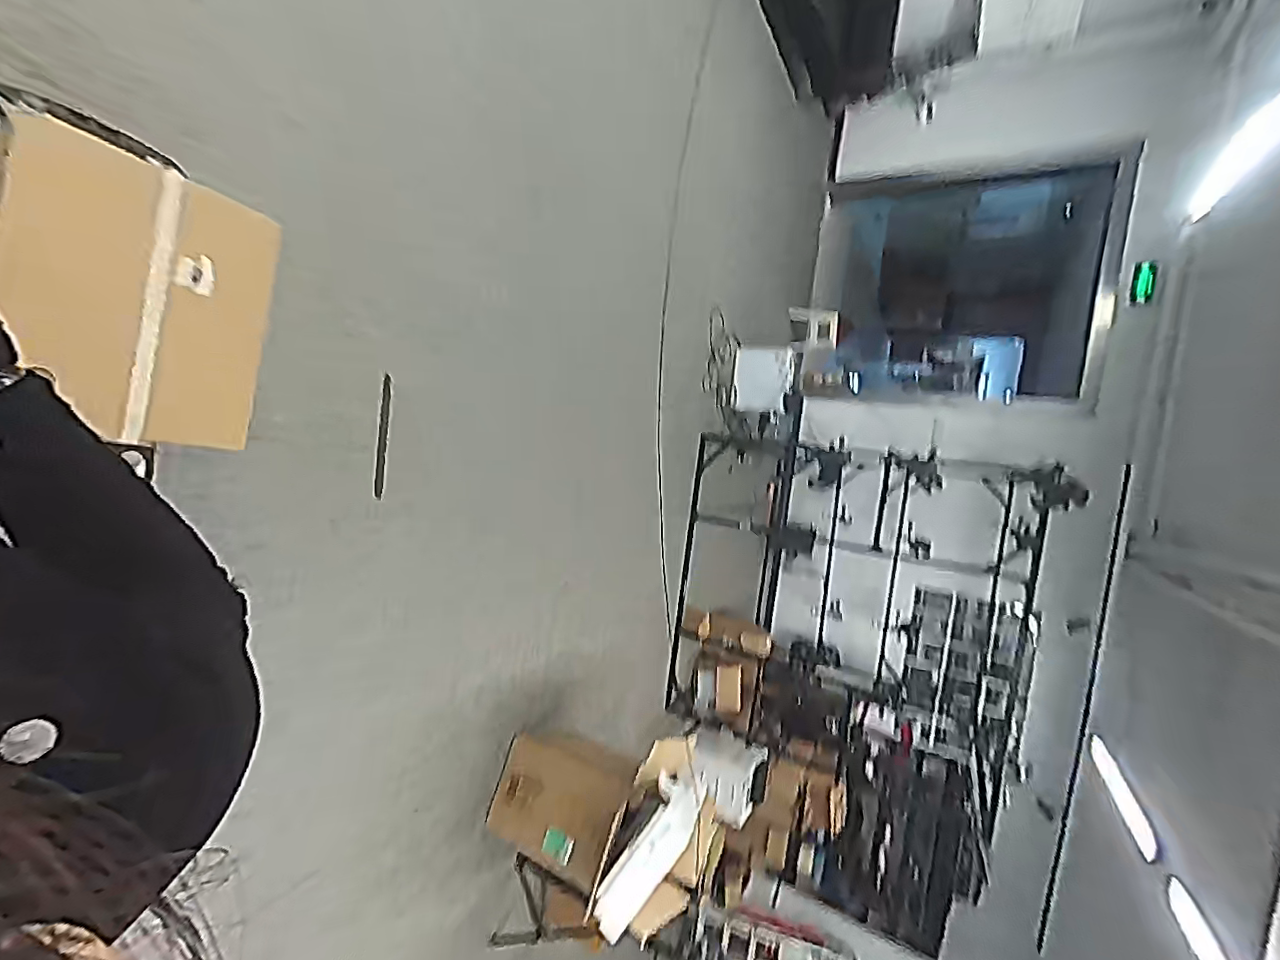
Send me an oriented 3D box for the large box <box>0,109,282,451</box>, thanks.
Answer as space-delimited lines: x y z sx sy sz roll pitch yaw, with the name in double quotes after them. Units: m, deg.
-0.846 -0.271 0.875 0.320 0.320 0.408 10 88 -61 "large box"
